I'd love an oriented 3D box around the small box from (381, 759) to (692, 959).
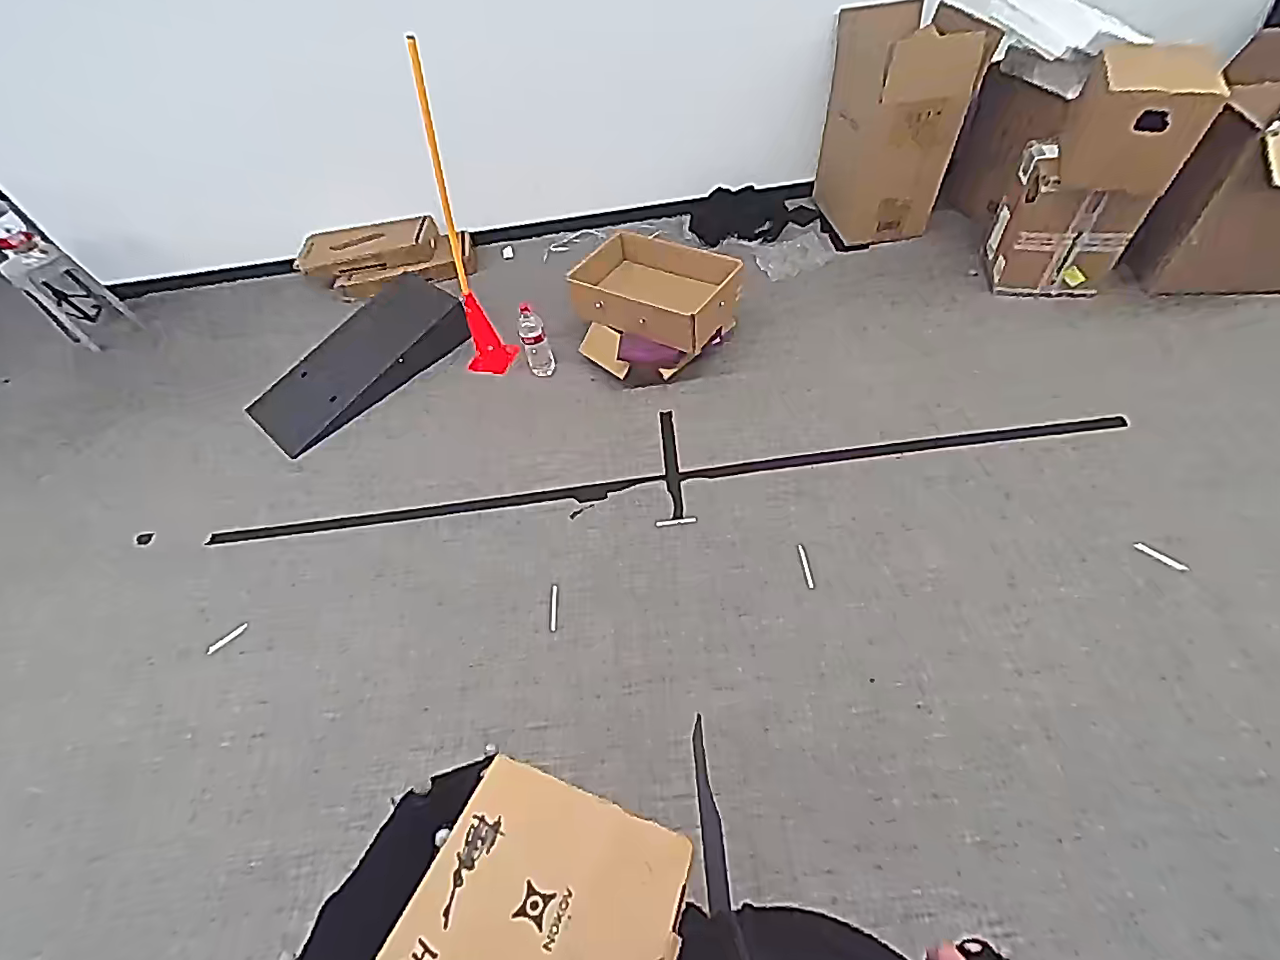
[{"bbox_3d":[-0.078,0.365,0.422,0.179,0.176,0.168,18,36,11],"label":"small box"}]
